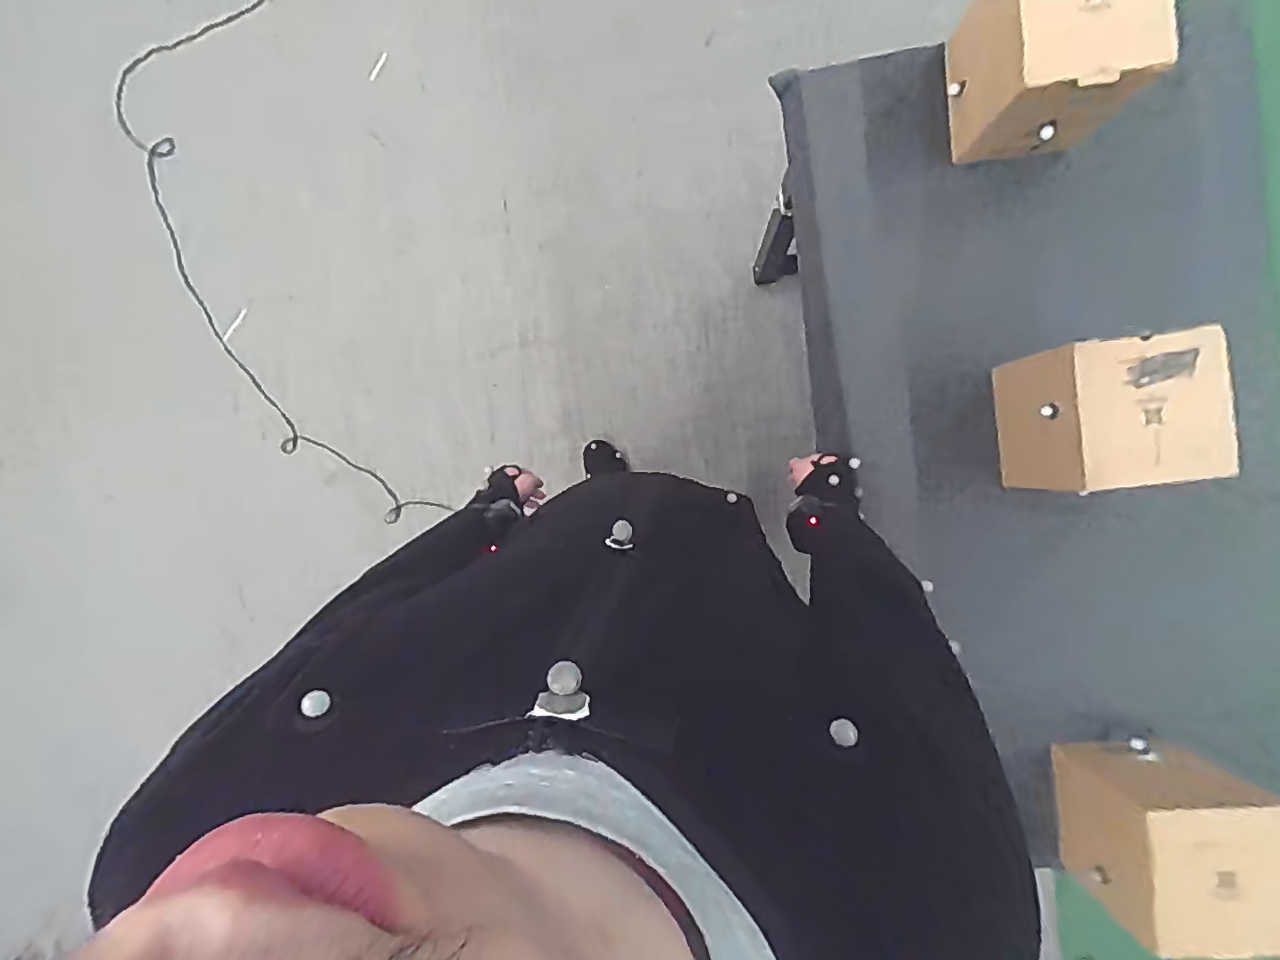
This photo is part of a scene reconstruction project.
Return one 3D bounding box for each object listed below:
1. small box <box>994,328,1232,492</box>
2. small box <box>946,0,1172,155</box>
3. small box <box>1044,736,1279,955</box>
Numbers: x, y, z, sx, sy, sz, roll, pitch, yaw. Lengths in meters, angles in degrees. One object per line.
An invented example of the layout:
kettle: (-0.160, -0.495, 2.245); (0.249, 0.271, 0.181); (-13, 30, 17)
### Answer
small box: (0.589, -0.082, 0.697); (0.168, 0.176, 0.179); (-6, 92, 5)
small box: (0.516, -0.544, 0.690); (0.168, 0.176, 0.179); (-5, 92, 4)
small box: (0.670, 0.463, 0.706); (0.168, 0.176, 0.179); (-5, 90, 4)
